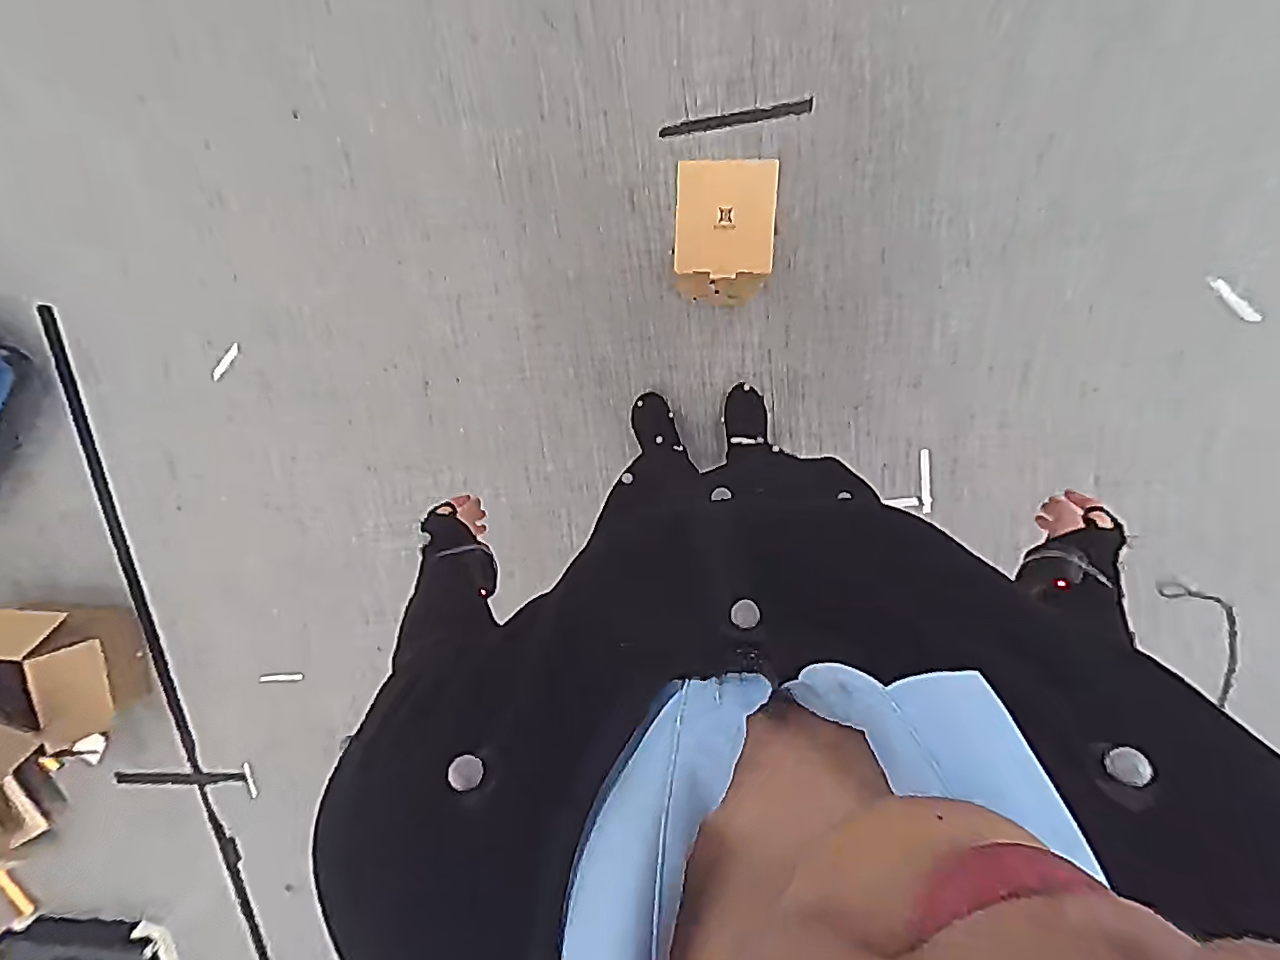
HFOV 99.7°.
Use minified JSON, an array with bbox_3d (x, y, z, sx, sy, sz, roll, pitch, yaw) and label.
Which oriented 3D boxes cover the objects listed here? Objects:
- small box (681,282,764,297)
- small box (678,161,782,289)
[{"bbox_3d":[0.174,-0.480,1.127,0.168,0.176,0.179,2,102,5],"label":"small box"},{"bbox_3d":[0.154,-0.447,0.970,0.168,0.176,0.179,2,103,6],"label":"small box"}]
